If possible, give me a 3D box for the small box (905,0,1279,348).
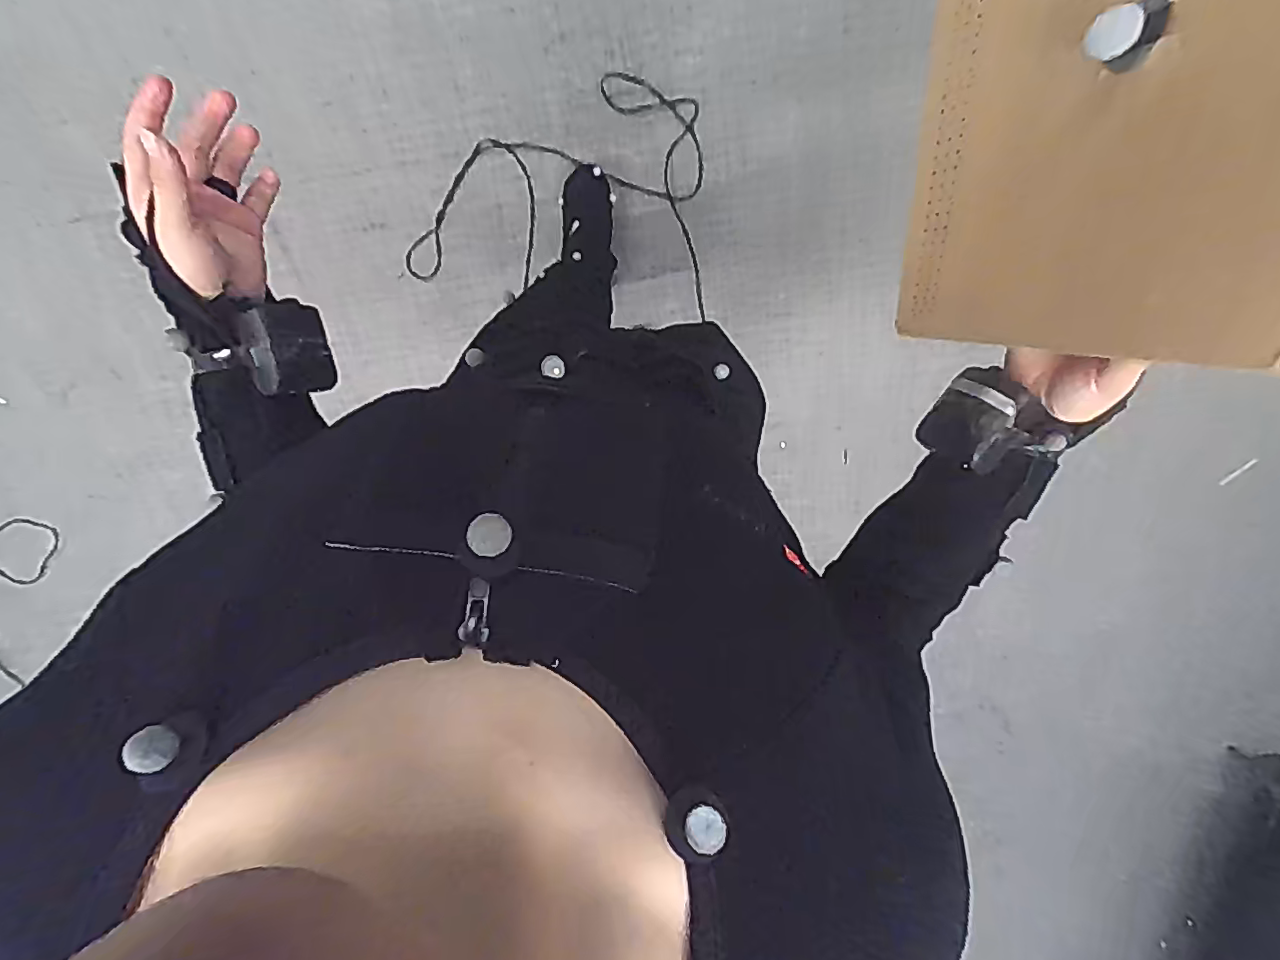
[{"bbox_3d":[0.236,-0.151,0.218,0.168,0.176,0.179,-6,109,-10],"label":"small box"}]
